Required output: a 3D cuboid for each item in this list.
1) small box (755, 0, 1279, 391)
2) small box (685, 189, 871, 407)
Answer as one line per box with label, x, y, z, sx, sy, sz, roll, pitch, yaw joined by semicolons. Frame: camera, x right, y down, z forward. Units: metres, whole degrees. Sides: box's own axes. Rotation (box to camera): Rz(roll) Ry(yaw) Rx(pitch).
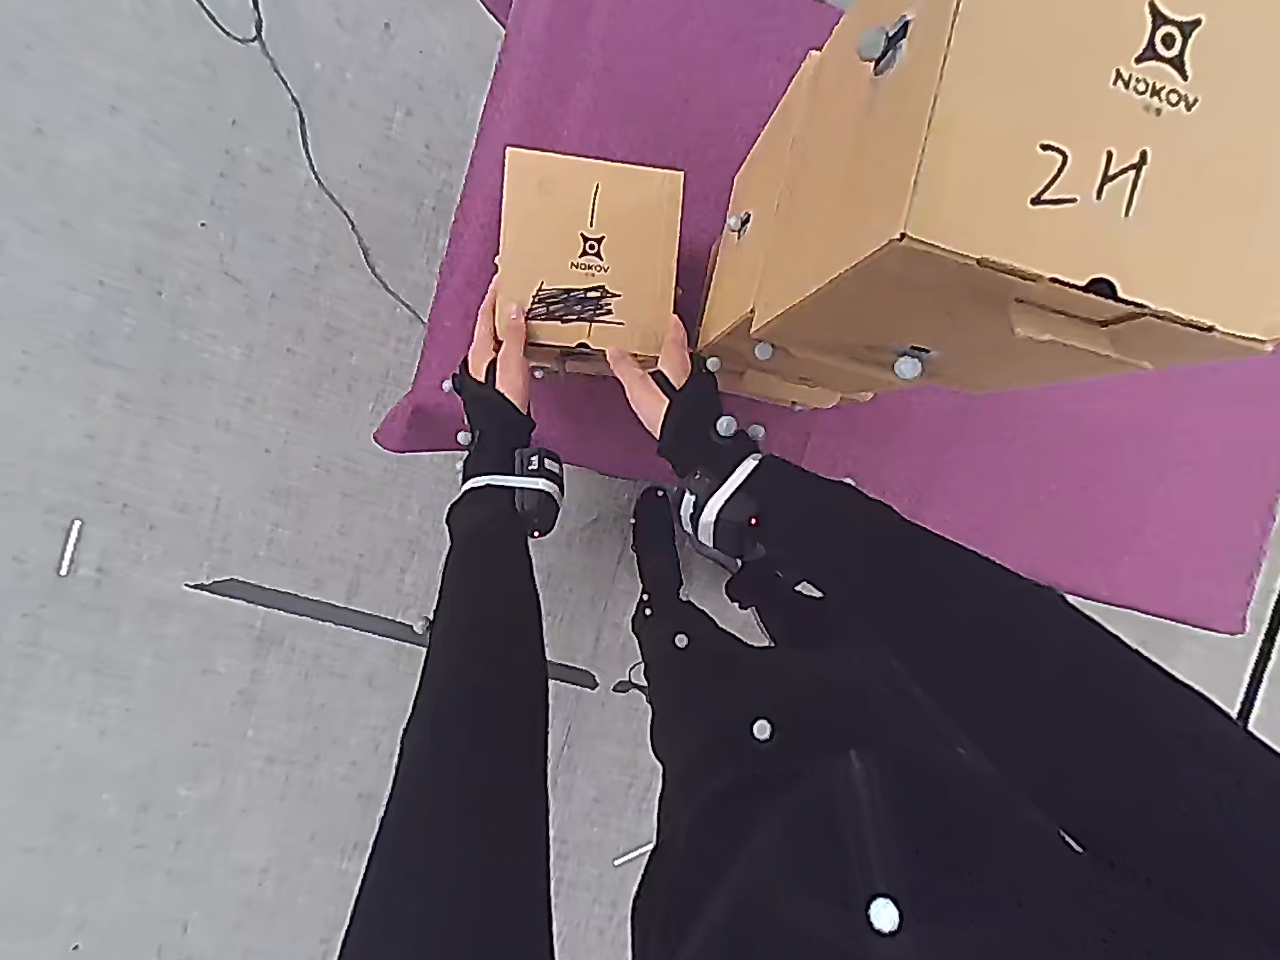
small box;0.174;-0.155;0.279;0.168;0.176;0.179;12;92;-7
small box;0.156;-0.184;0.609;0.168;0.176;0.179;12;93;-8
